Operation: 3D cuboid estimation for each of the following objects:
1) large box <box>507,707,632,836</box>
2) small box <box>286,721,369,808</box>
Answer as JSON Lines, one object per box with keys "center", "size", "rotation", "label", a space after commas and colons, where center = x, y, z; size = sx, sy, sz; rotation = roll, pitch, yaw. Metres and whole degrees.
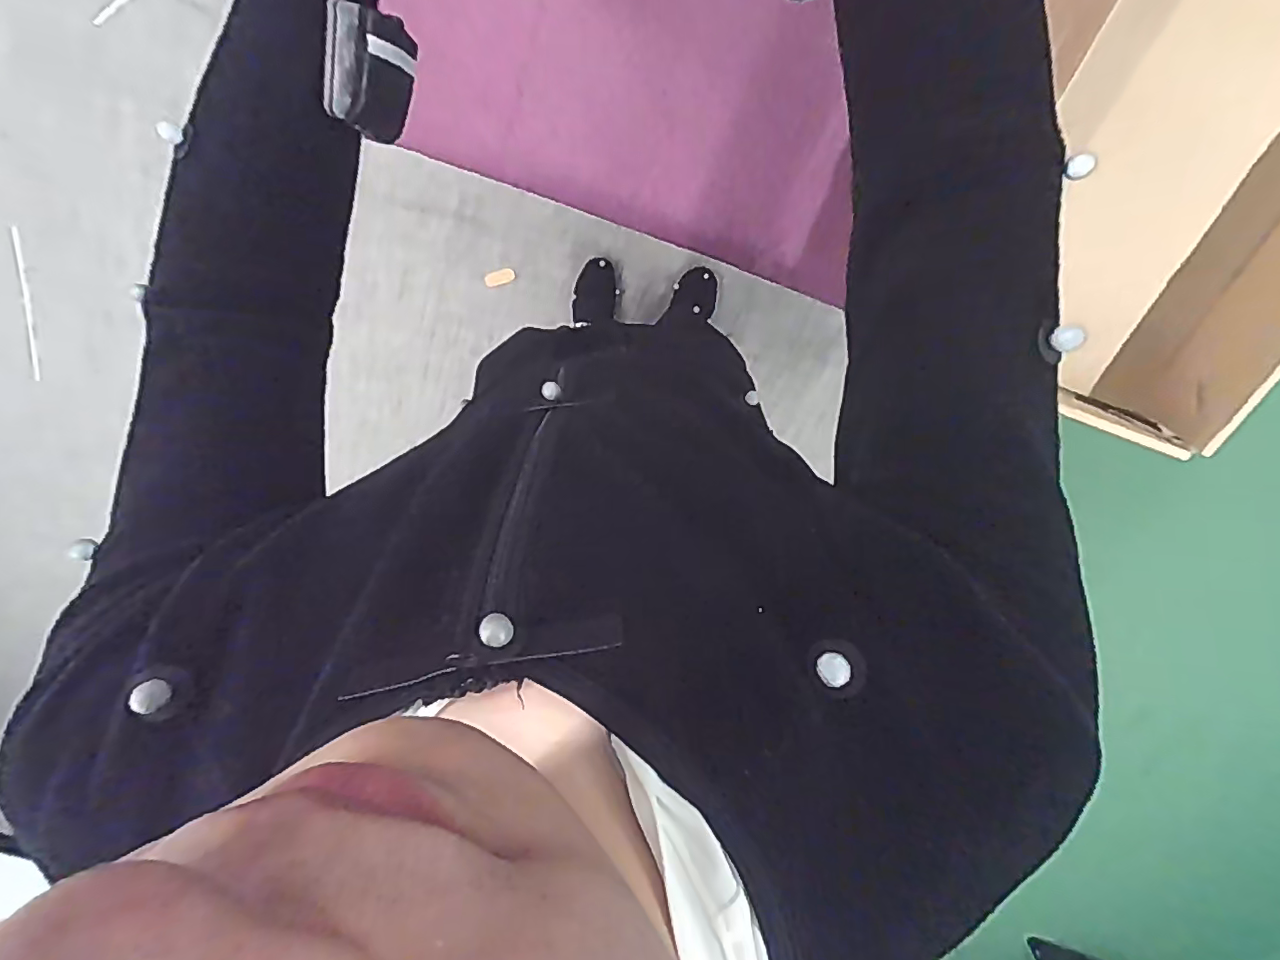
{"center": [-0.260, 1.149, 2.141], "size": [0.408, 0.320, 0.320], "rotation": [-10, 116, 7], "label": "large box"}
{"center": [-1.045, 0.951, 1.819], "size": [0.168, 0.176, 0.179], "rotation": [26, 113, -9], "label": "small box"}
